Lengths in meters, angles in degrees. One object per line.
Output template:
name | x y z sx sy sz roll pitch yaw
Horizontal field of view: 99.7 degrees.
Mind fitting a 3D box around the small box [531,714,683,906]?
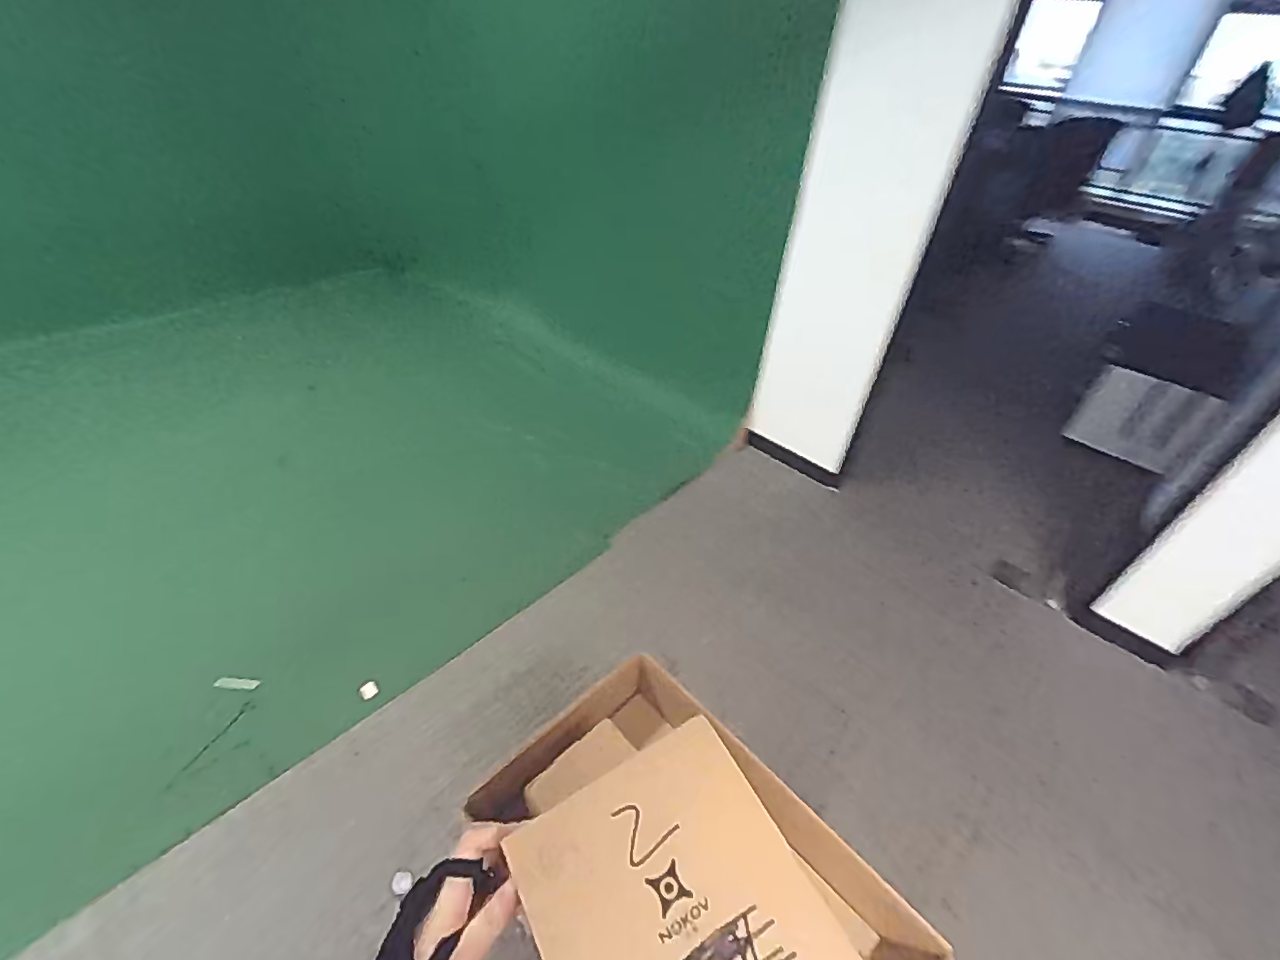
small box | -0.053 0.523 0.861 0.168 0.176 0.179 -30 50 -31
